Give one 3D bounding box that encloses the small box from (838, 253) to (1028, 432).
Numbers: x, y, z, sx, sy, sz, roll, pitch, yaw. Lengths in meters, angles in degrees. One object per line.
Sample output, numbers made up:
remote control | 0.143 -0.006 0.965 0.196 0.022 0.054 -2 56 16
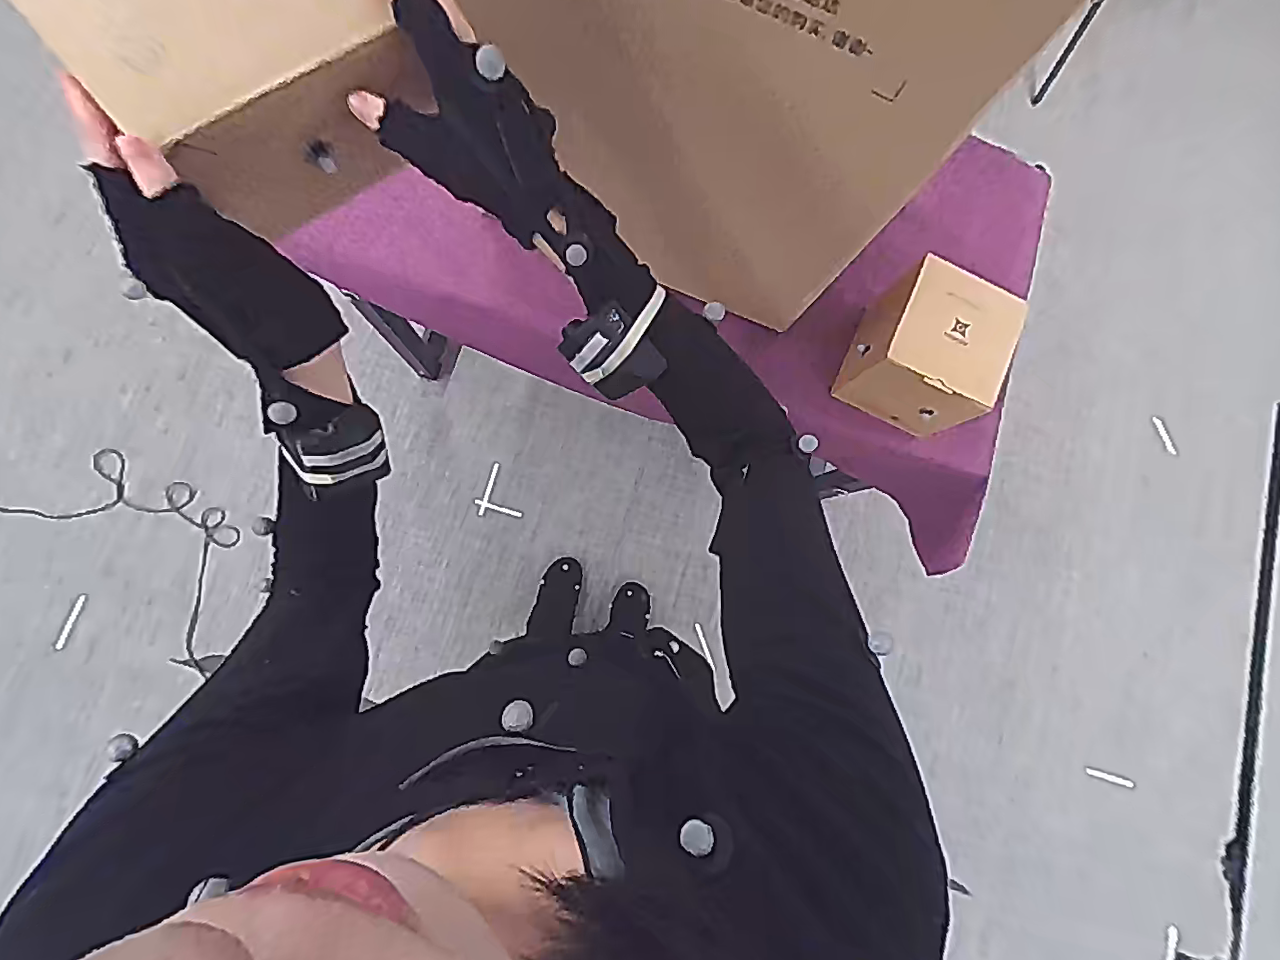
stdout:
small box | 0.427 -0.193 0.816 0.168 0.176 0.179 25 79 -3
